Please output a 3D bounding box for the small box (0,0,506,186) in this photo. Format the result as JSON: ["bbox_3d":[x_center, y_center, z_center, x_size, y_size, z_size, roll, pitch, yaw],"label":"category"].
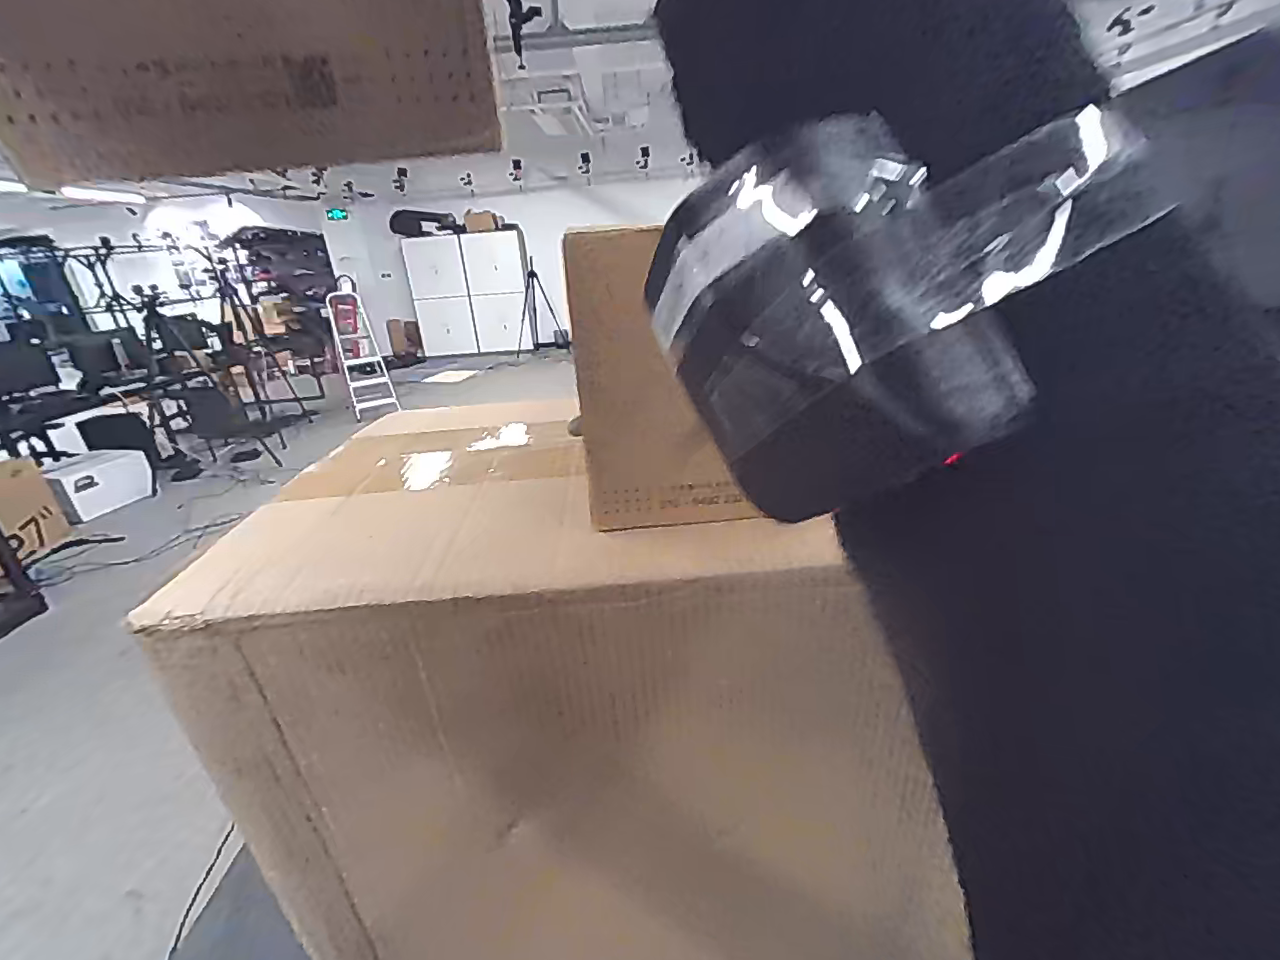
[{"bbox_3d":[-0.150,-0.223,0.213,0.168,0.176,0.179,-8,40,-9],"label":"small box"}]

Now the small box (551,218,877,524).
[{"bbox_3d":[0.040,-0.079,0.373,0.168,0.176,0.179,-4,26,-1],"label":"small box"}]
